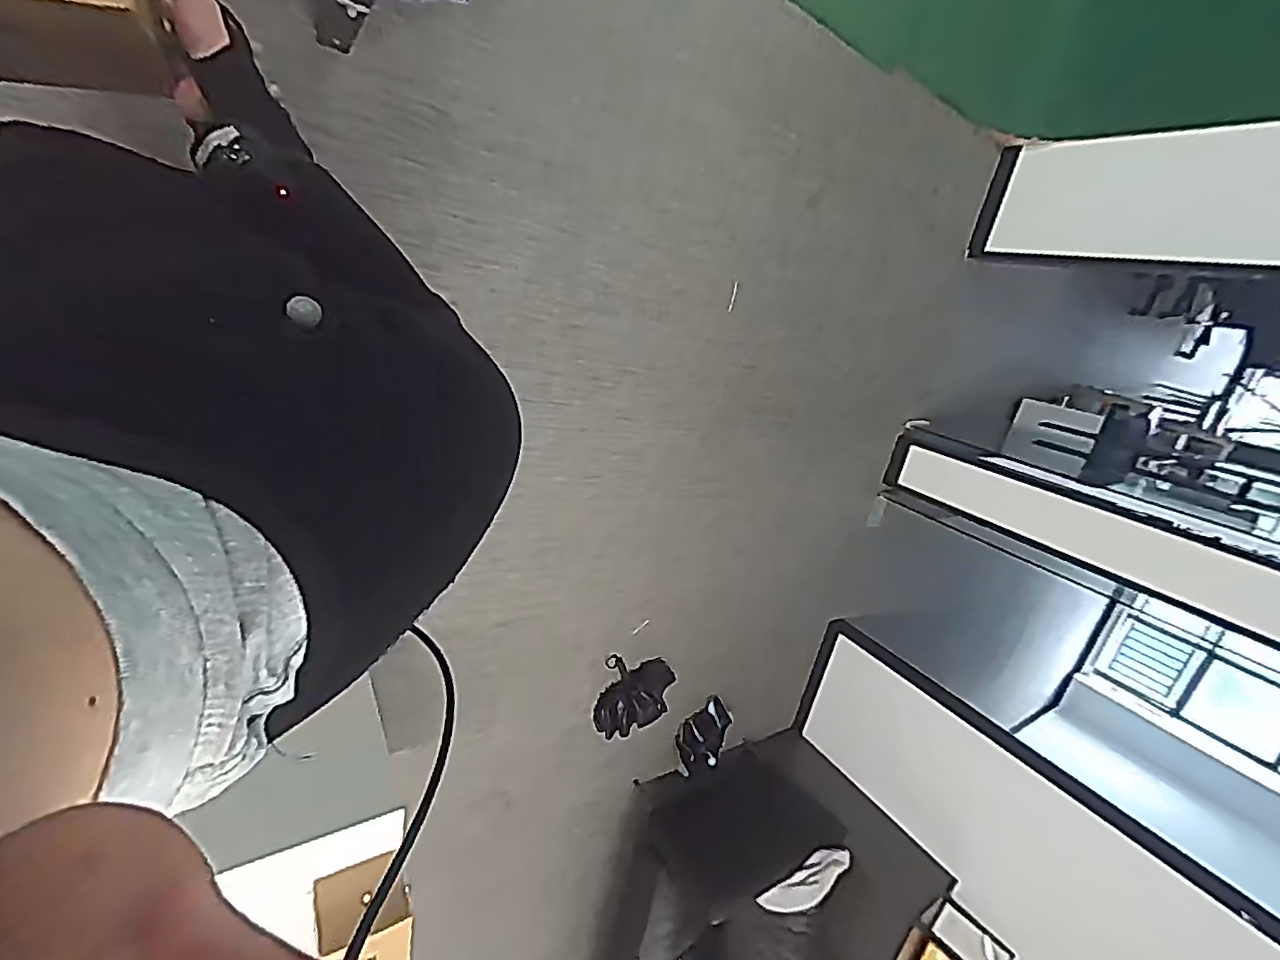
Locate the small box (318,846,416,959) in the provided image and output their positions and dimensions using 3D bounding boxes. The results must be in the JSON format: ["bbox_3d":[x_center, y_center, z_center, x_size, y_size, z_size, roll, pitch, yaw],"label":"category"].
[{"bbox_3d":[-0.613,0.975,1.205,0.179,0.176,0.168,-3,114,-35],"label":"small box"}]

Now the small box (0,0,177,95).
[{"bbox_3d":[-0.435,-0.368,0.337,0.179,0.176,0.168,-14,112,-29],"label":"small box"}]
